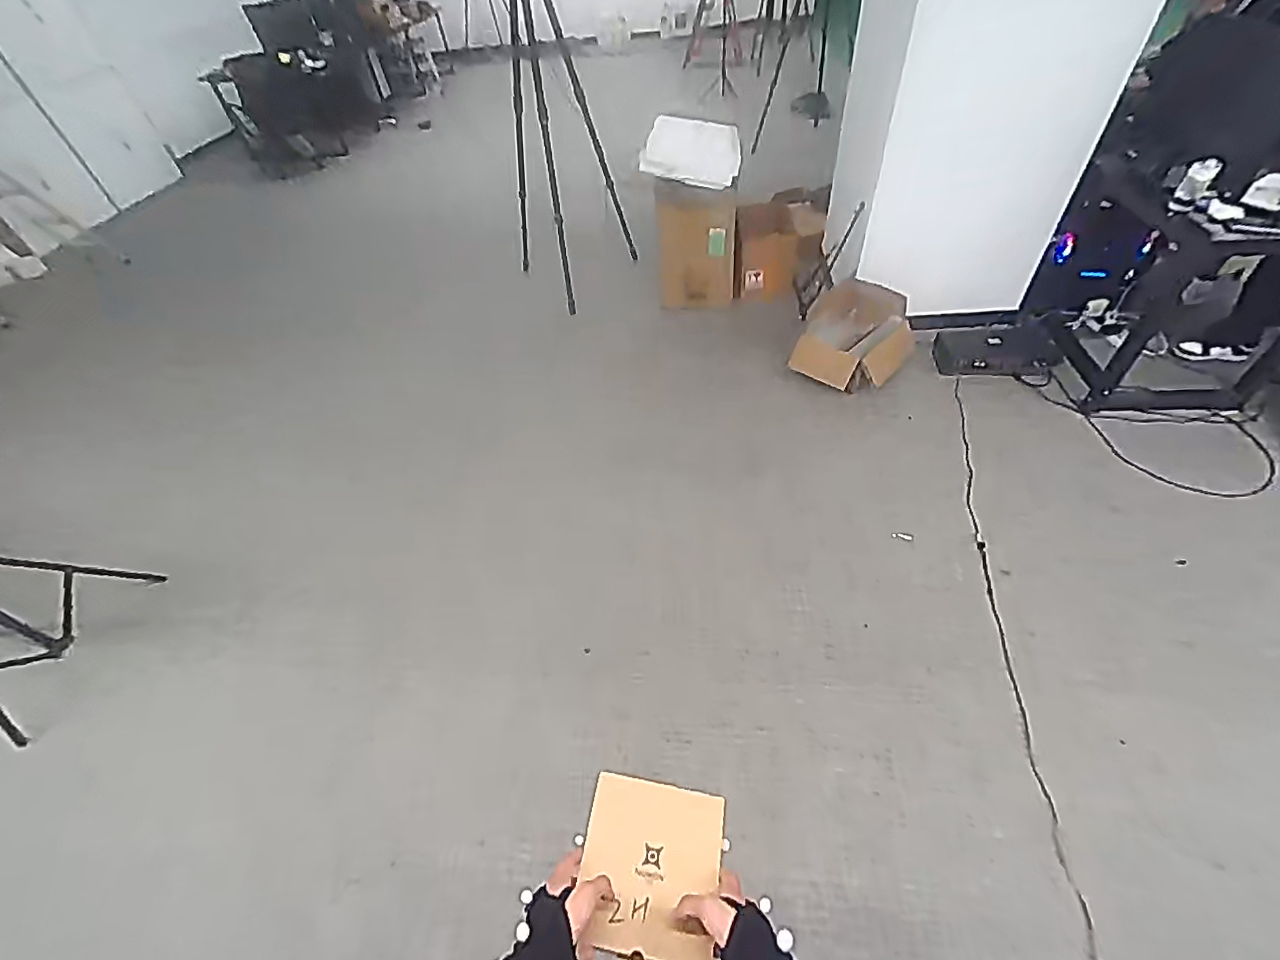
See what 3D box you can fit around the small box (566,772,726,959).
[{"bbox_3d":[0.008,0.508,0.701,0.168,0.176,0.179,10,51,5],"label":"small box"}]
